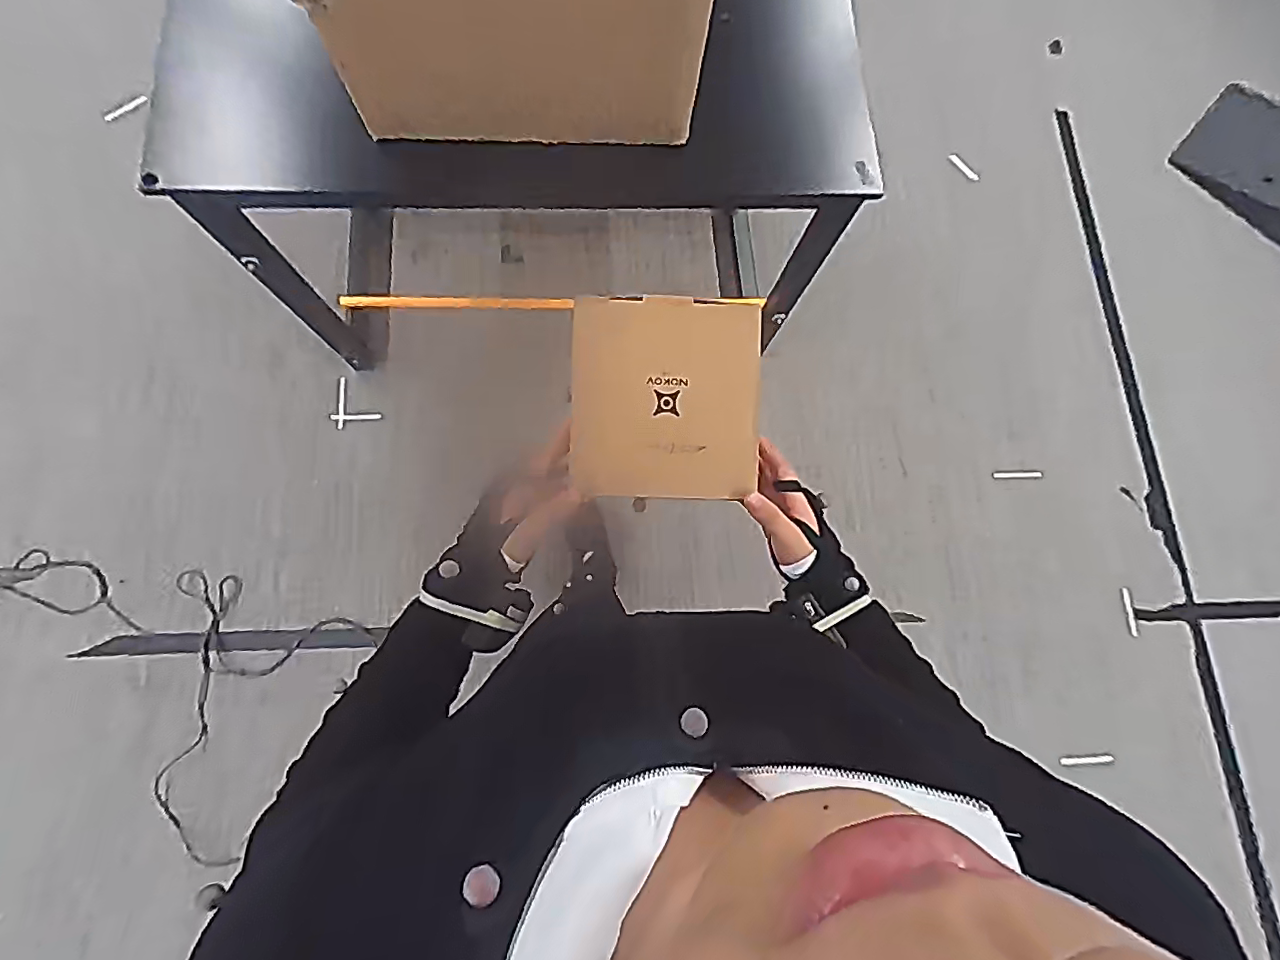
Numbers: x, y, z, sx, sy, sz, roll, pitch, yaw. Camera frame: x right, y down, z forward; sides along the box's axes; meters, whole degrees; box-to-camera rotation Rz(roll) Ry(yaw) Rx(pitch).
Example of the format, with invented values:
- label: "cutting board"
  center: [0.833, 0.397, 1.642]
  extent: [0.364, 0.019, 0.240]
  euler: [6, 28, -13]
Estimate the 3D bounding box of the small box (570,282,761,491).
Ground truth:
- label: "small box"
  center: [0.017, -0.080, 0.548]
  extent: [0.168, 0.176, 0.179]
  euler: [1, 89, -4]
